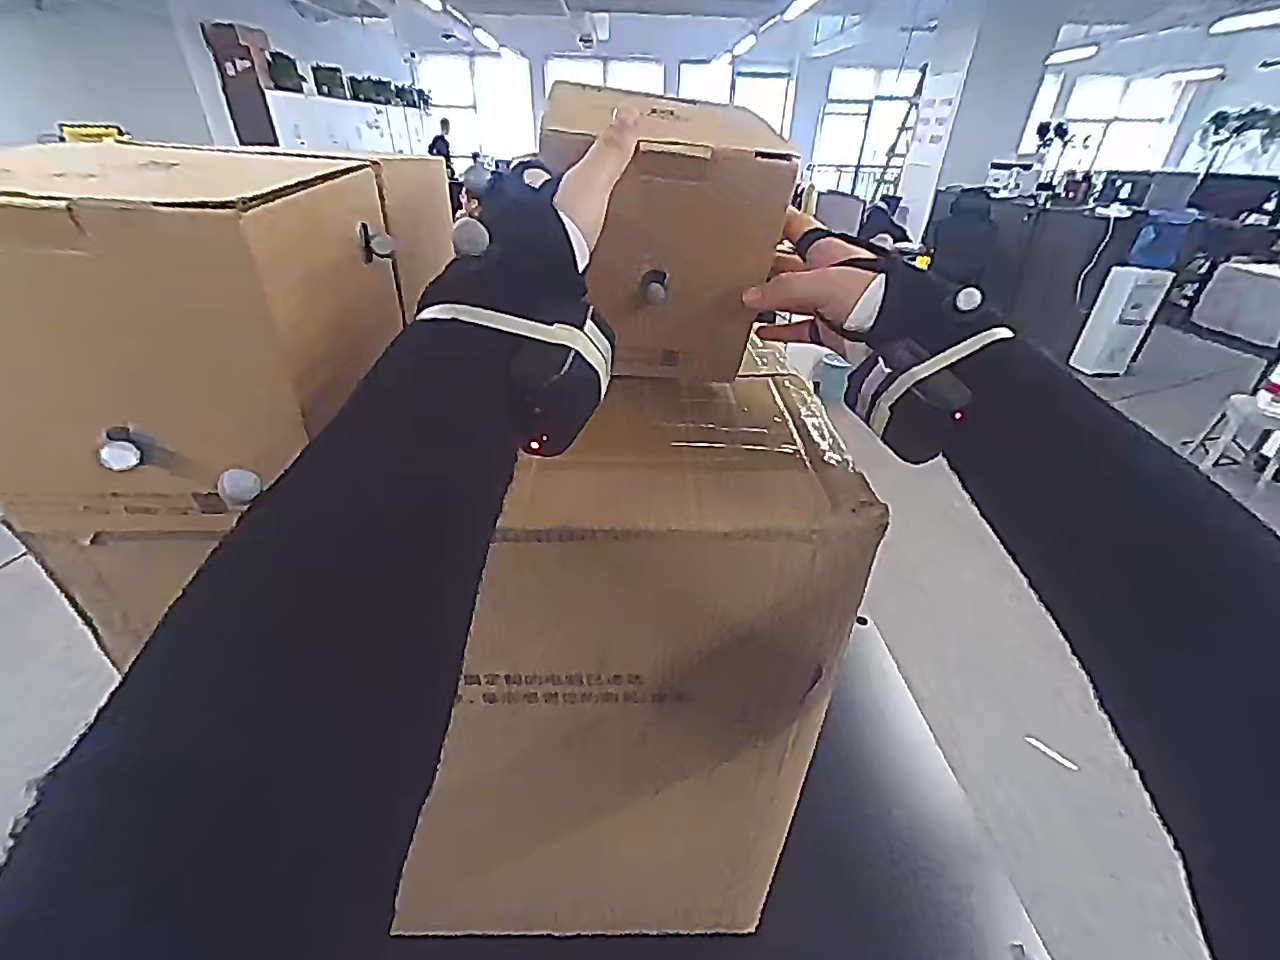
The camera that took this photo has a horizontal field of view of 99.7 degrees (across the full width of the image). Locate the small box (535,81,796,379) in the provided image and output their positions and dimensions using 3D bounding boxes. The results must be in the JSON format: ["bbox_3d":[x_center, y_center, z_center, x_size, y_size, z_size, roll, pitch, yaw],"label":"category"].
[{"bbox_3d":[0.005,-0.200,0.444,0.168,0.176,0.179,3,44,-8],"label":"small box"}]
